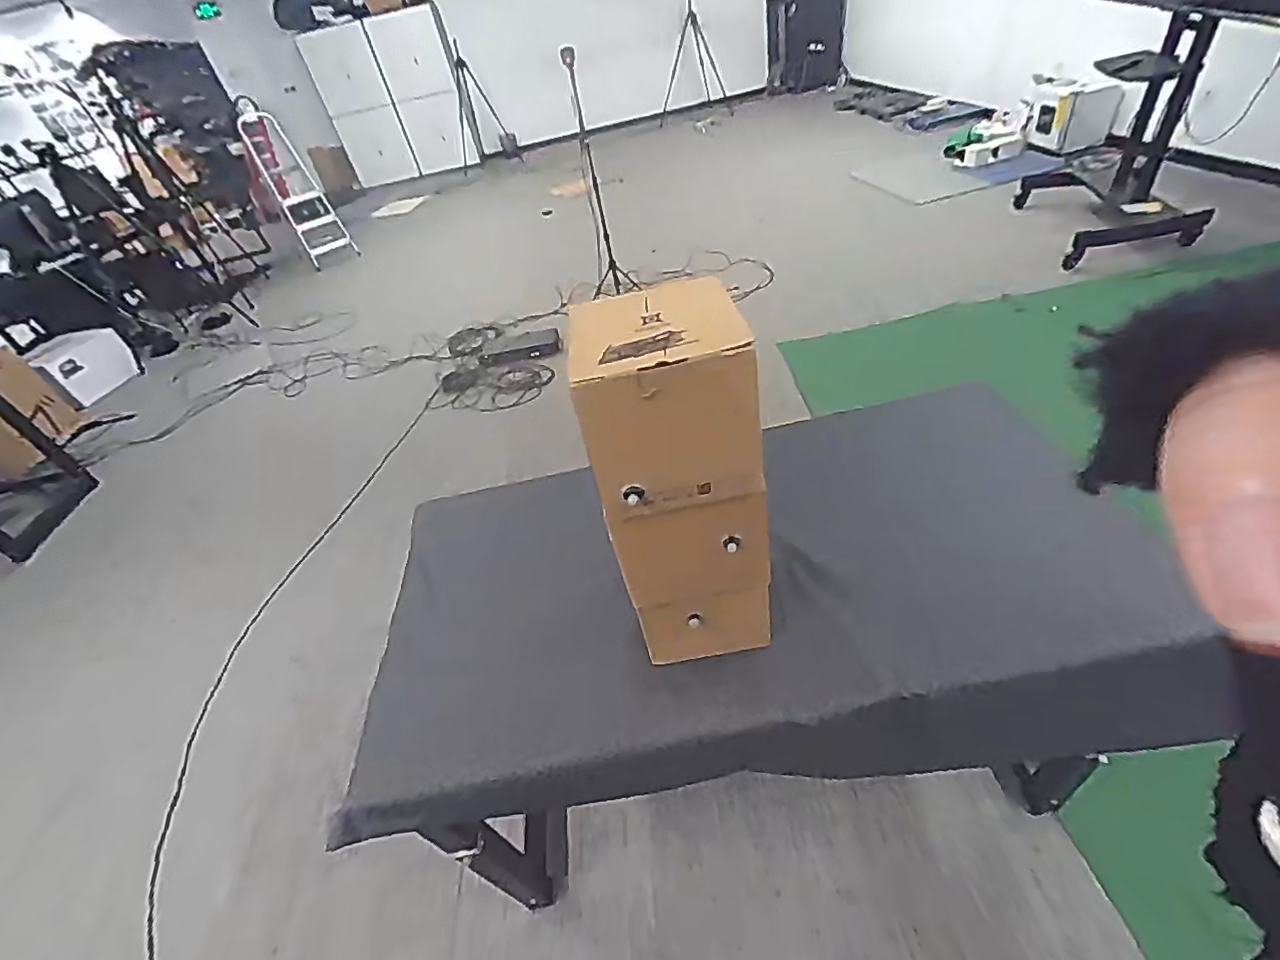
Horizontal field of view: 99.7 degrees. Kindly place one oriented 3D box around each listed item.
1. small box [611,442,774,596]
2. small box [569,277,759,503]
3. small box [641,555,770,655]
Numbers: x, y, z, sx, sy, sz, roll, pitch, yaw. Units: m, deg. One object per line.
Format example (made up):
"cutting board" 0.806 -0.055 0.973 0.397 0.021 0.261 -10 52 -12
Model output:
"small box" 0.056 0.019 0.675 0.179 0.176 0.168 -13 41 0
"small box" 0.026 -0.090 0.579 0.168 0.176 0.179 -11 39 3
"small box" 0.087 0.138 0.809 0.179 0.176 0.168 -13 40 0
